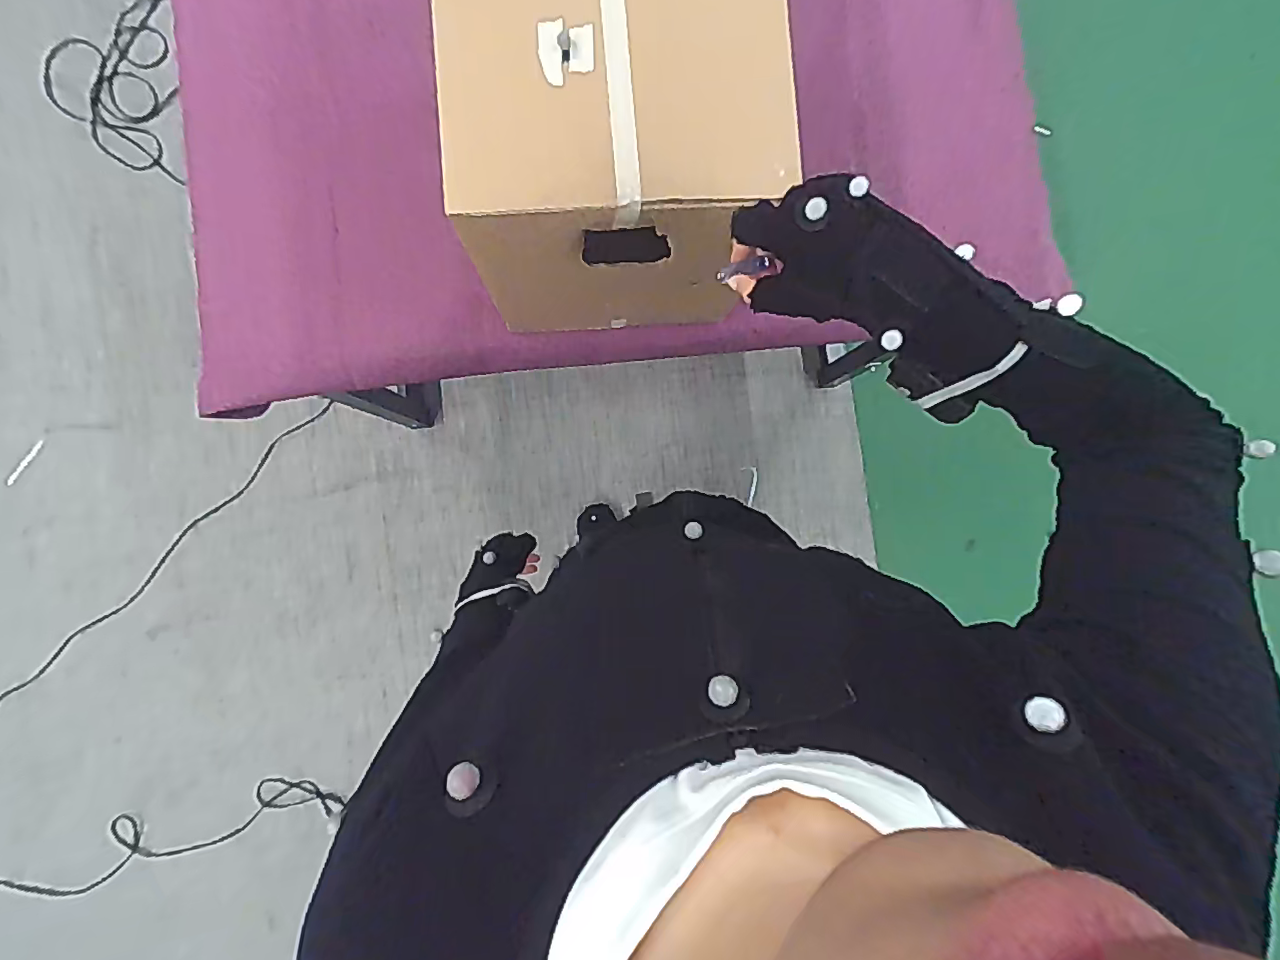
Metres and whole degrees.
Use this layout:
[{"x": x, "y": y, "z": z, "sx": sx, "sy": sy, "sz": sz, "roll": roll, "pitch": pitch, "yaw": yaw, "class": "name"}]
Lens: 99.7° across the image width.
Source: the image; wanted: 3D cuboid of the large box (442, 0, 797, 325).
[{"x": -0.036, "y": -0.432, "z": 0.639, "sx": 0.320, "sy": 0.320, "sz": 0.408, "roll": -4, "pitch": 88, "yaw": -4, "class": "large box"}]
